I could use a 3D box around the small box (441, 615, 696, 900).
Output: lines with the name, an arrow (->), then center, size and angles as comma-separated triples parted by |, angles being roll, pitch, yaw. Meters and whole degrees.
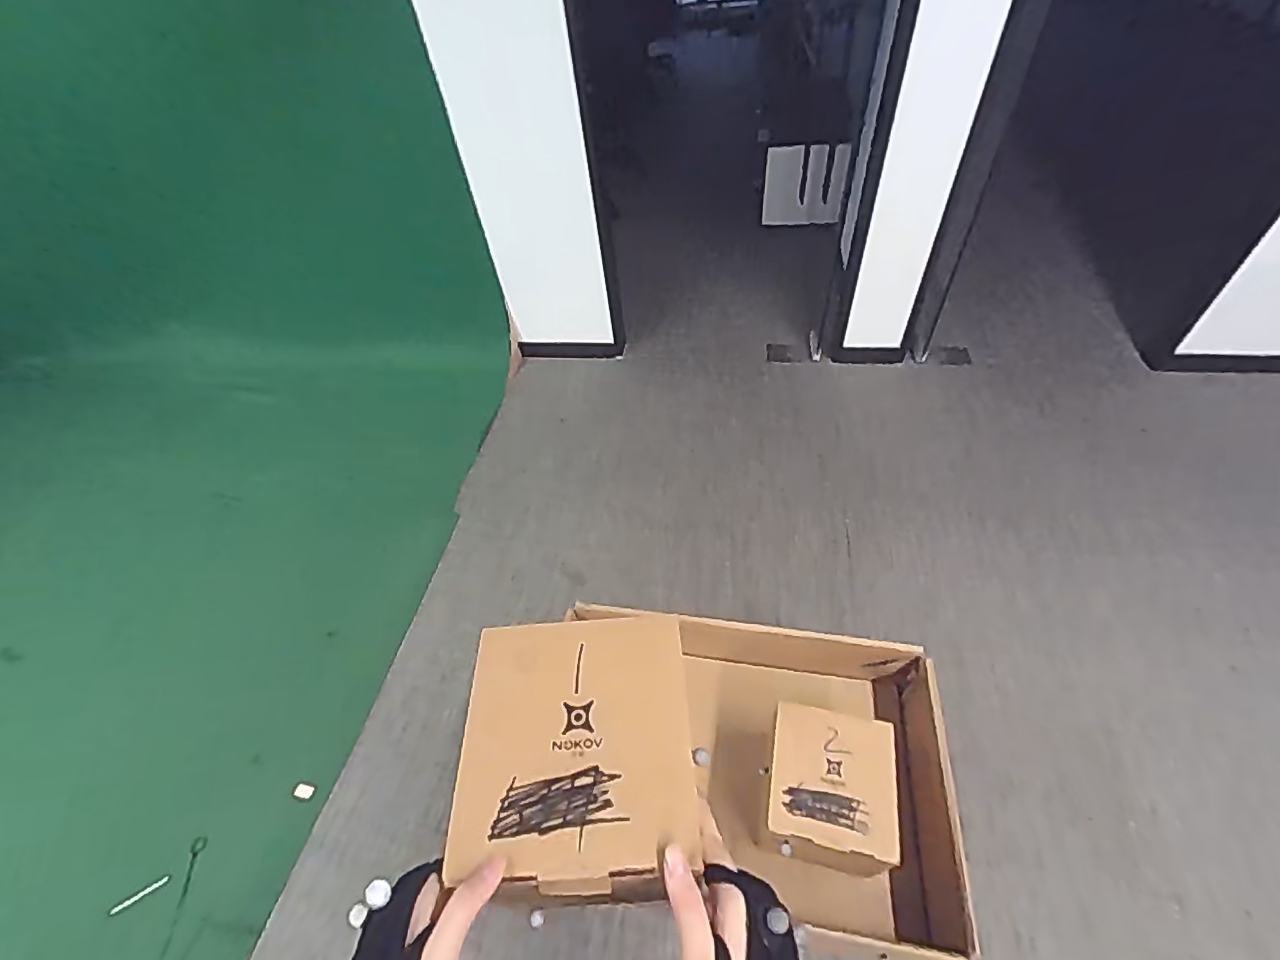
small box -> -0.043, 0.237, 0.454 | 0.168, 0.176, 0.179 | -5, 46, 2
